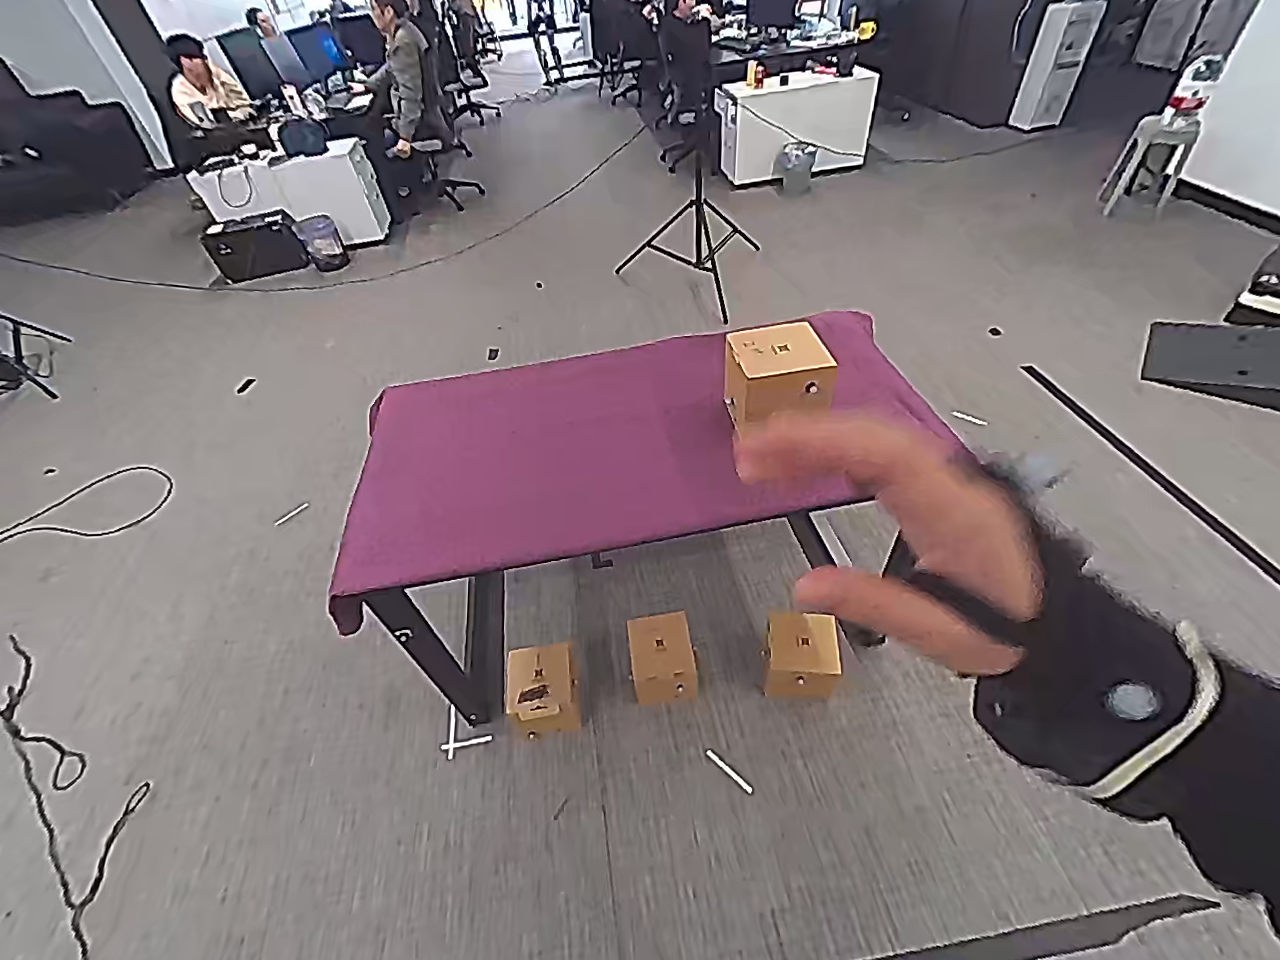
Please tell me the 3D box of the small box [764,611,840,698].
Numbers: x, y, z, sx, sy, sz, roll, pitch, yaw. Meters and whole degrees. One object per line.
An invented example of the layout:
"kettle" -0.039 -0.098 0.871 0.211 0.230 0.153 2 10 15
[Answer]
"small box" 0.431 0.475 1.465 0.179 0.176 0.168 1 47 10

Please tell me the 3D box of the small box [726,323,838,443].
"small box" 0.280 -0.197 1.111 0.179 0.176 0.168 -9 45 -1

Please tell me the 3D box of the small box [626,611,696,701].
"small box" 0.059 0.492 1.494 0.168 0.176 0.179 -8 45 -2

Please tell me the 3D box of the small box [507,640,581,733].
"small box" -0.255 0.564 1.461 0.168 0.176 0.179 -9 45 -2
